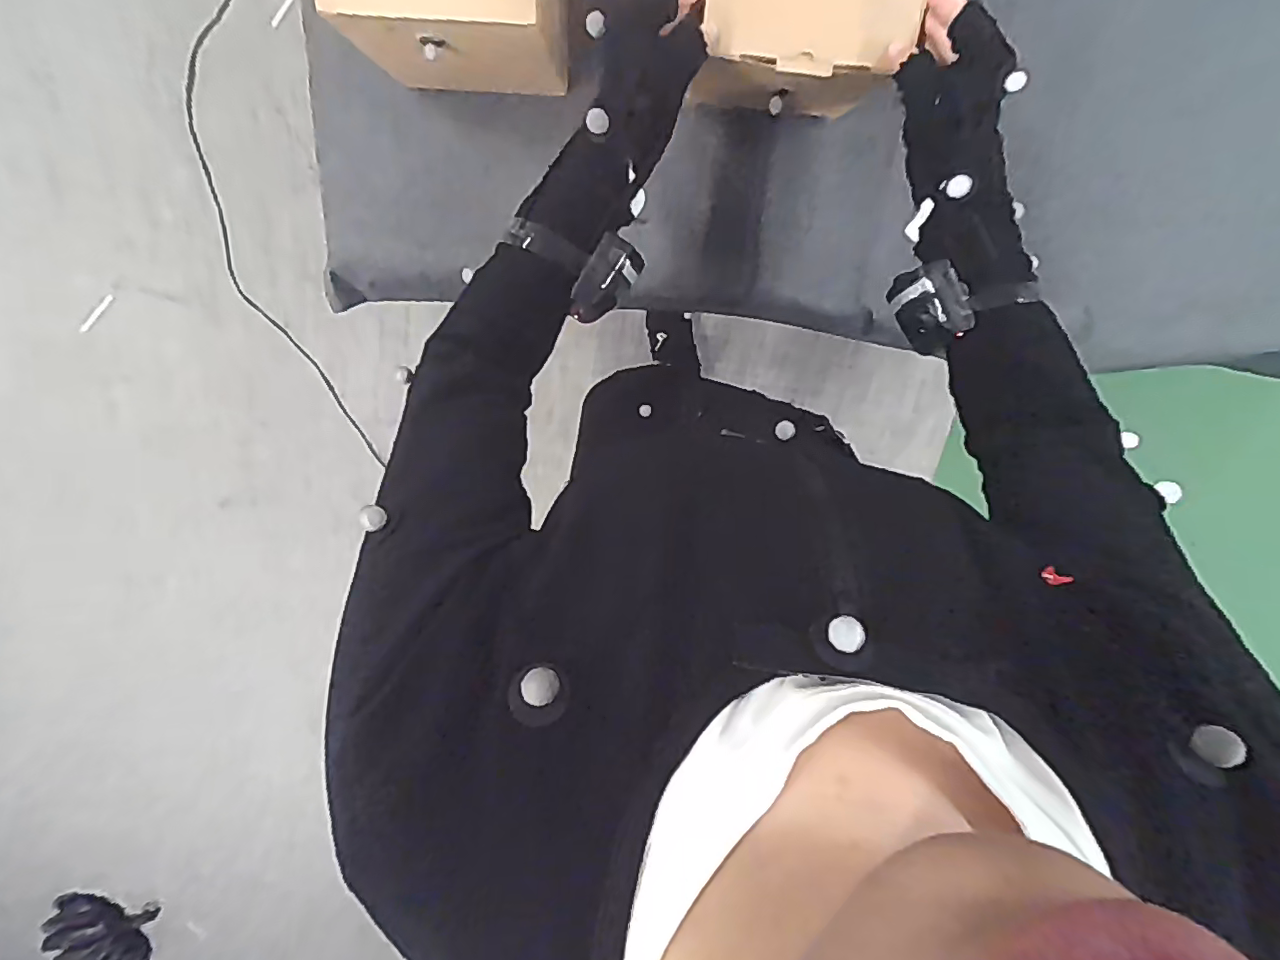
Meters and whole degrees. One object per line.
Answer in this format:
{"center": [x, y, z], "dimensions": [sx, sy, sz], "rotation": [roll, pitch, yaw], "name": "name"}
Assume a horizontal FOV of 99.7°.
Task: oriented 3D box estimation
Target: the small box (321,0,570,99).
{"center": [-0.160, -0.463, 0.480], "dimensions": [0.179, 0.176, 0.168], "rotation": [3, 110, 0], "name": "small box"}

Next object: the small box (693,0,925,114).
{"center": [0.138, -0.431, 0.460], "dimensions": [0.168, 0.176, 0.179], "rotation": [4, 115, -1], "name": "small box"}
